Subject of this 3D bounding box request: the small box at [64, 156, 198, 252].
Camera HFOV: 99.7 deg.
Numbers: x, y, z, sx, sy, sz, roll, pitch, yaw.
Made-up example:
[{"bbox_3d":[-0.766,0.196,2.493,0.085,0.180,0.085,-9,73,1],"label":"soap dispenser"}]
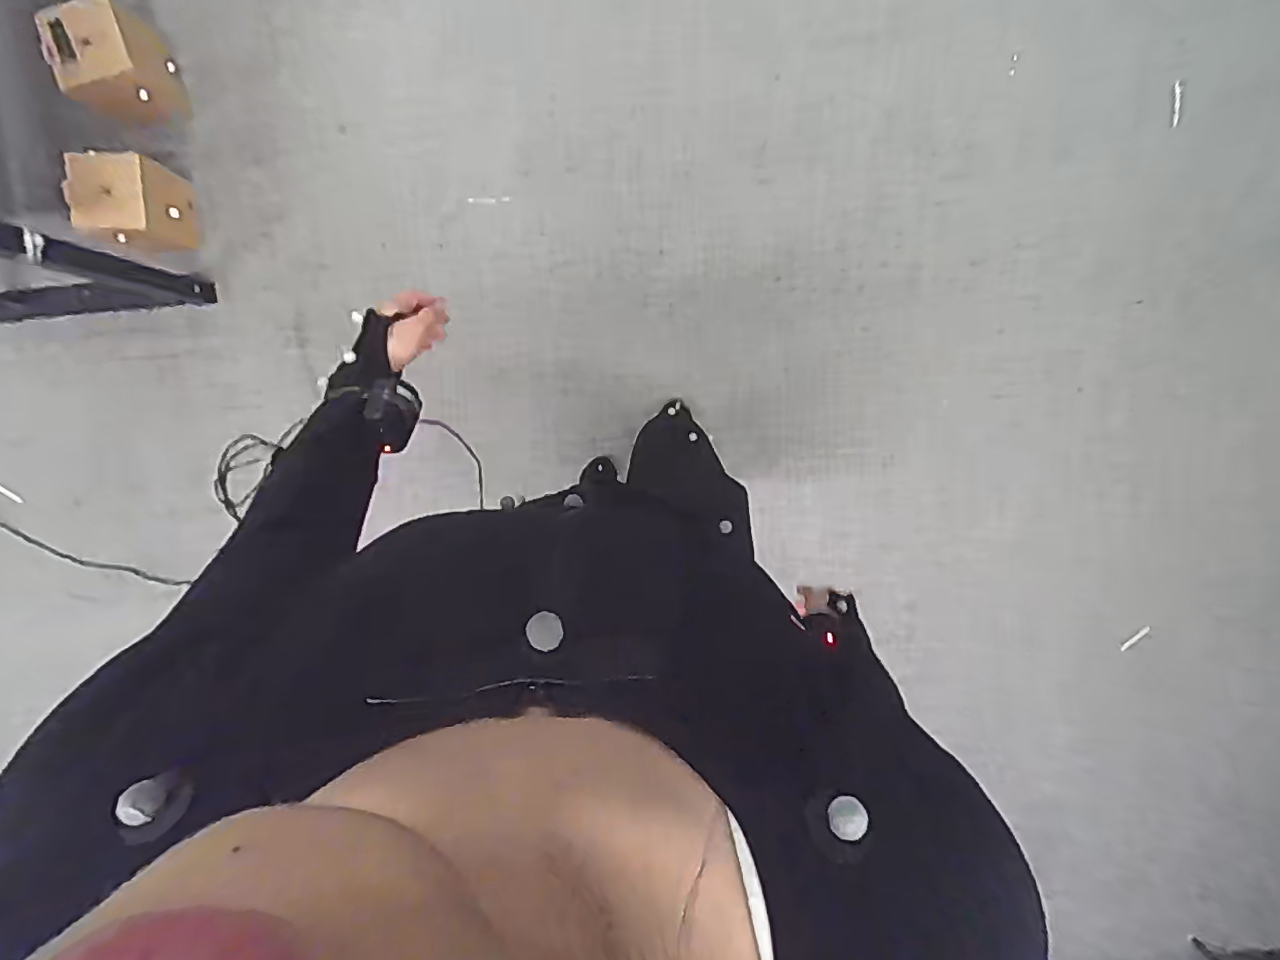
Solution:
[{"bbox_3d":[-1.223,-0.666,1.318,0.179,0.176,0.168,0,97,0],"label":"small box"}]
